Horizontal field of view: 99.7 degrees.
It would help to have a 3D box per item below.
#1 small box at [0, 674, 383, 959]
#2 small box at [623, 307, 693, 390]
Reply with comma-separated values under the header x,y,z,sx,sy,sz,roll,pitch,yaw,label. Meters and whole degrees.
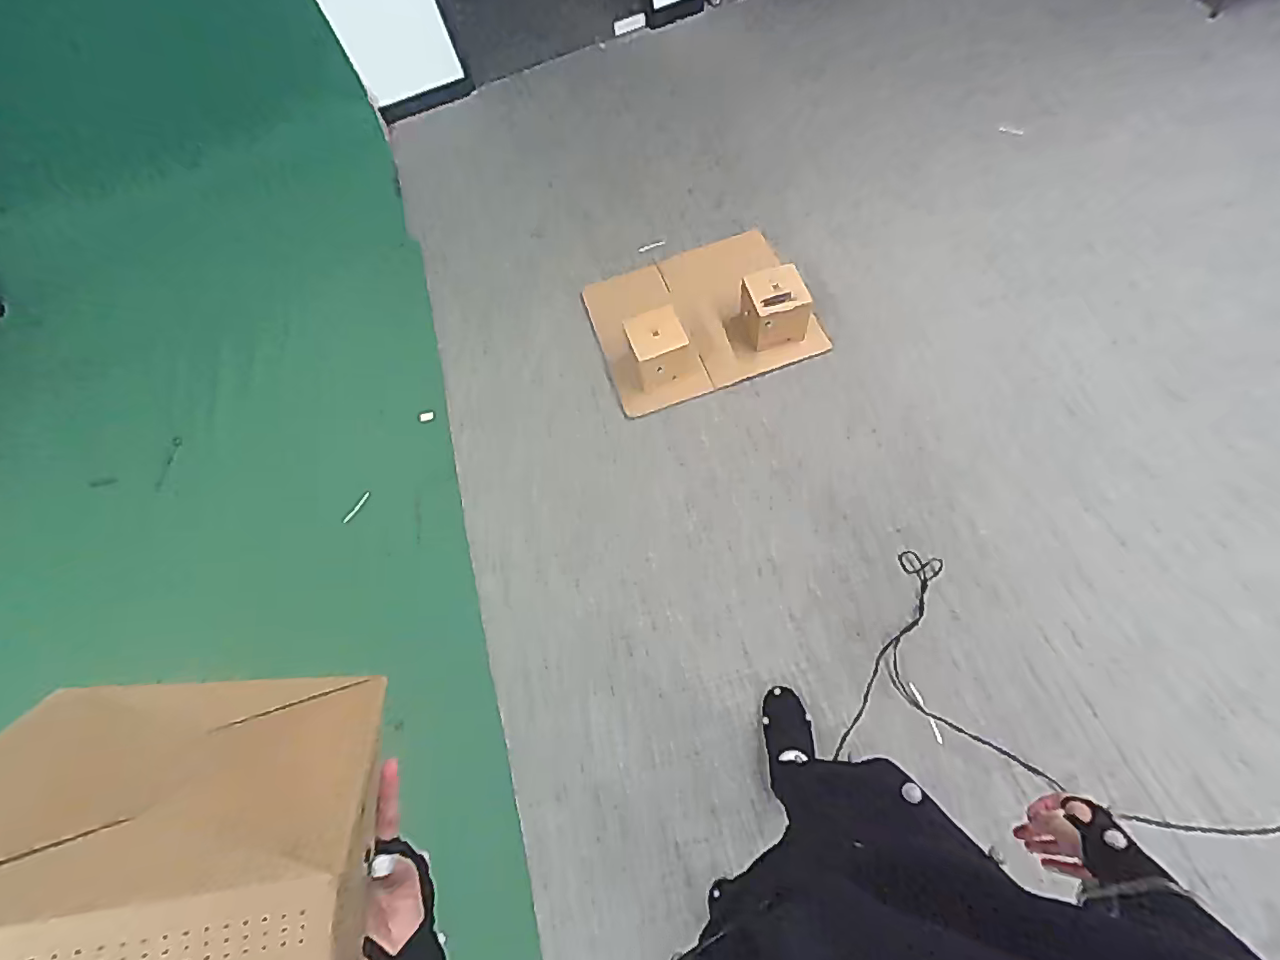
x,y,z,sx,sy,sz,roll,pitch,yaw,label
-0.232,0.214,0.272,0.179,0.168,0.176,5,98,-20,small box
0.061,-0.407,1.712,0.168,0.176,0.179,-21,62,-1,small box
